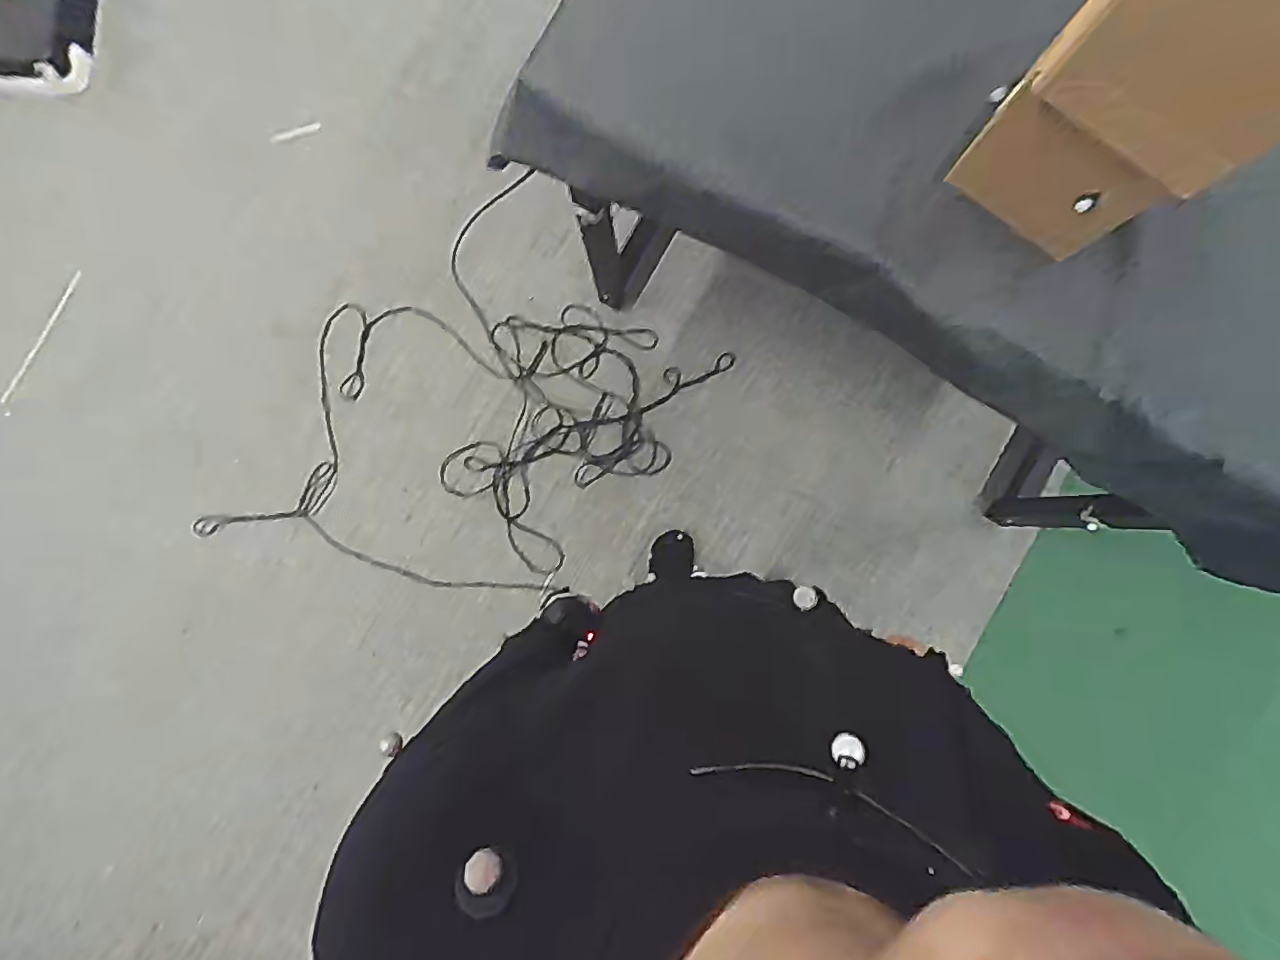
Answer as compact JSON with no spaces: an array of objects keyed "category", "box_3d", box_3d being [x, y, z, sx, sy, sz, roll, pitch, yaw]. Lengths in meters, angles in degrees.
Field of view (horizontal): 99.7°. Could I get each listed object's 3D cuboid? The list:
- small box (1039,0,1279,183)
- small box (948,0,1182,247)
[{"category":"small box","box_3d":[0.472,-0.379,0.419,0.179,0.176,0.168,39,87,3]},{"category":"small box","box_3d":[0.486,-0.386,0.582,0.179,0.176,0.168,37,87,4]}]
